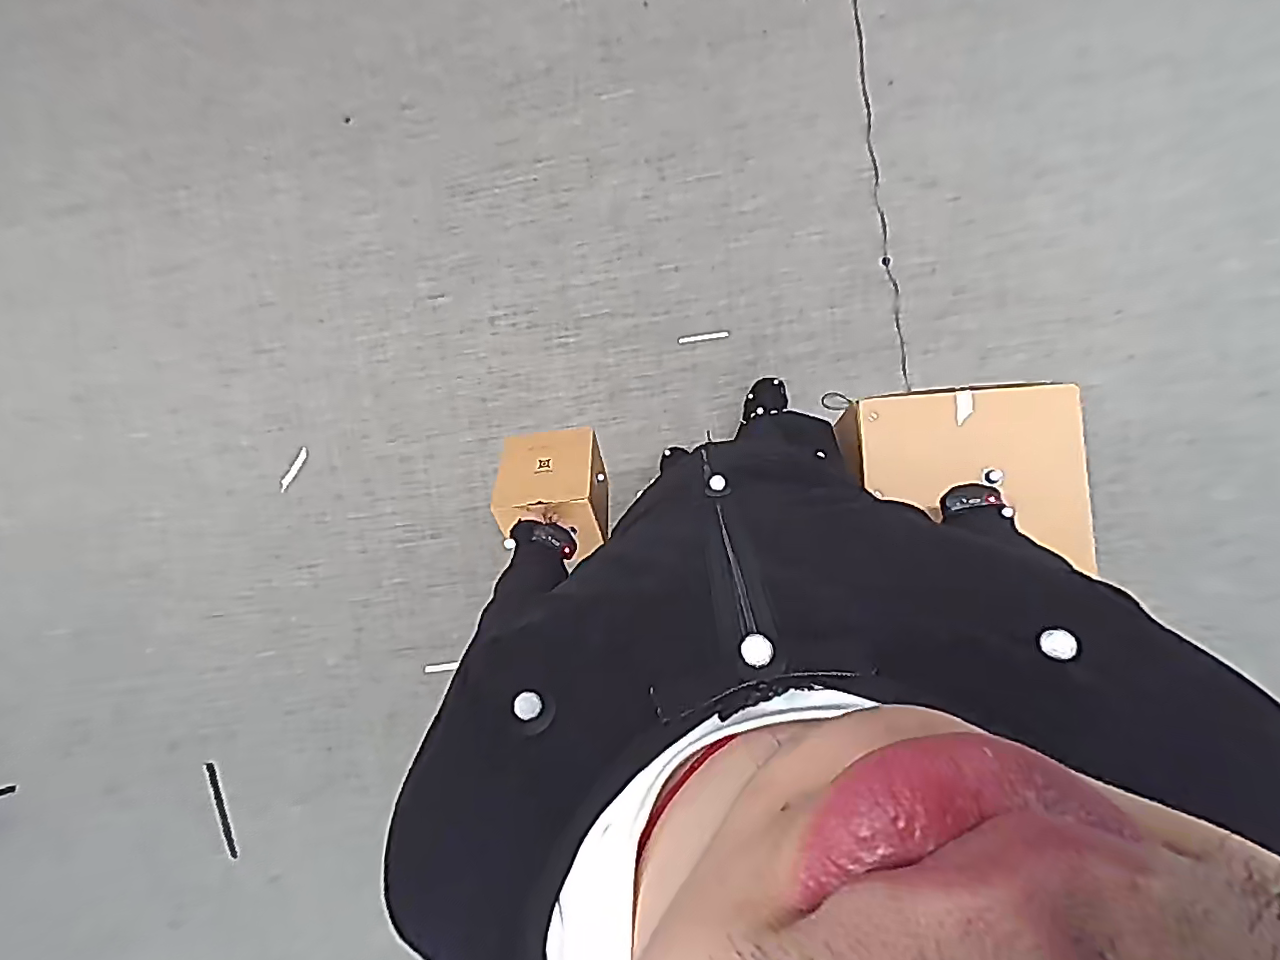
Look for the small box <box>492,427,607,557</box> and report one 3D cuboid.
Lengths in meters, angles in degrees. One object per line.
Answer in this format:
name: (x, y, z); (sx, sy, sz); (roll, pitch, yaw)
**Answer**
small box: (-0.154, 0.029, 0.988); (0.168, 0.179, 0.176); (-6, 137, 4)
